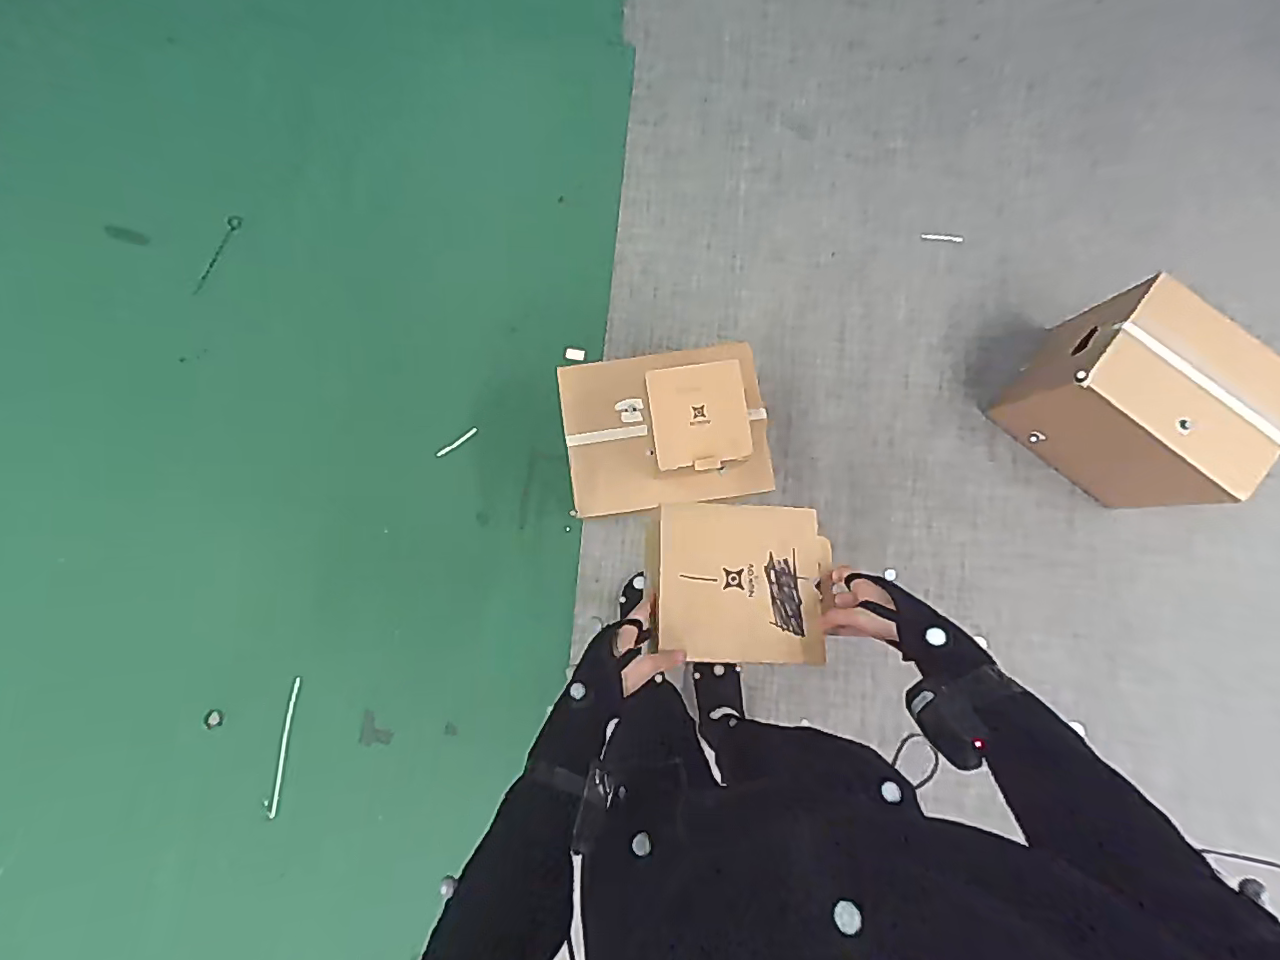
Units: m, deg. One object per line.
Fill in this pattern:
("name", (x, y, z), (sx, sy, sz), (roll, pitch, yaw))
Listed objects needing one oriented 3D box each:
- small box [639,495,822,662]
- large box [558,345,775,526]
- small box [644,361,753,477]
("small box", (0.096, 0.123, 0.641), (0.179, 0.176, 0.168), (3, 72, -3))
("large box", (0.052, -0.079, 1.233), (0.408, 0.320, 0.320), (-9, 82, -1))
("small box", (0.099, -0.101, 0.989), (0.168, 0.176, 0.179), (-8, 84, -2))
